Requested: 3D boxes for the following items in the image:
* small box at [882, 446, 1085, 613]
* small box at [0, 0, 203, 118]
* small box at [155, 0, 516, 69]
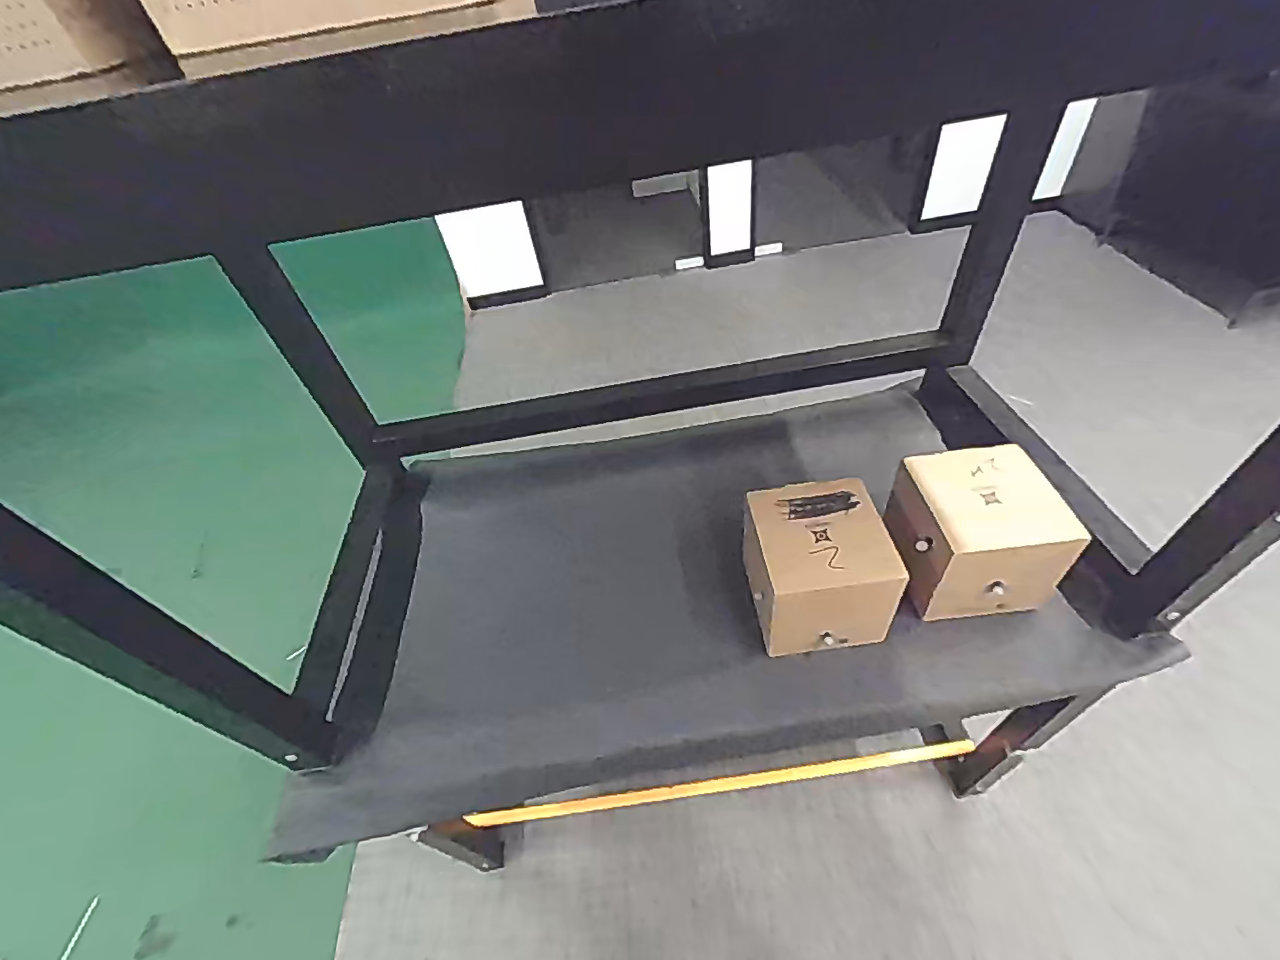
[{"bbox_3d":[0.472,0.078,0.778,0.168,0.176,0.179,-7,45,3],"label":"small box"},{"bbox_3d":[-0.358,-0.294,0.268,0.168,0.176,0.179,-8,47,2],"label":"small box"},{"bbox_3d":[-0.164,-0.327,0.268,0.168,0.176,0.179,-8,46,3],"label":"small box"}]
